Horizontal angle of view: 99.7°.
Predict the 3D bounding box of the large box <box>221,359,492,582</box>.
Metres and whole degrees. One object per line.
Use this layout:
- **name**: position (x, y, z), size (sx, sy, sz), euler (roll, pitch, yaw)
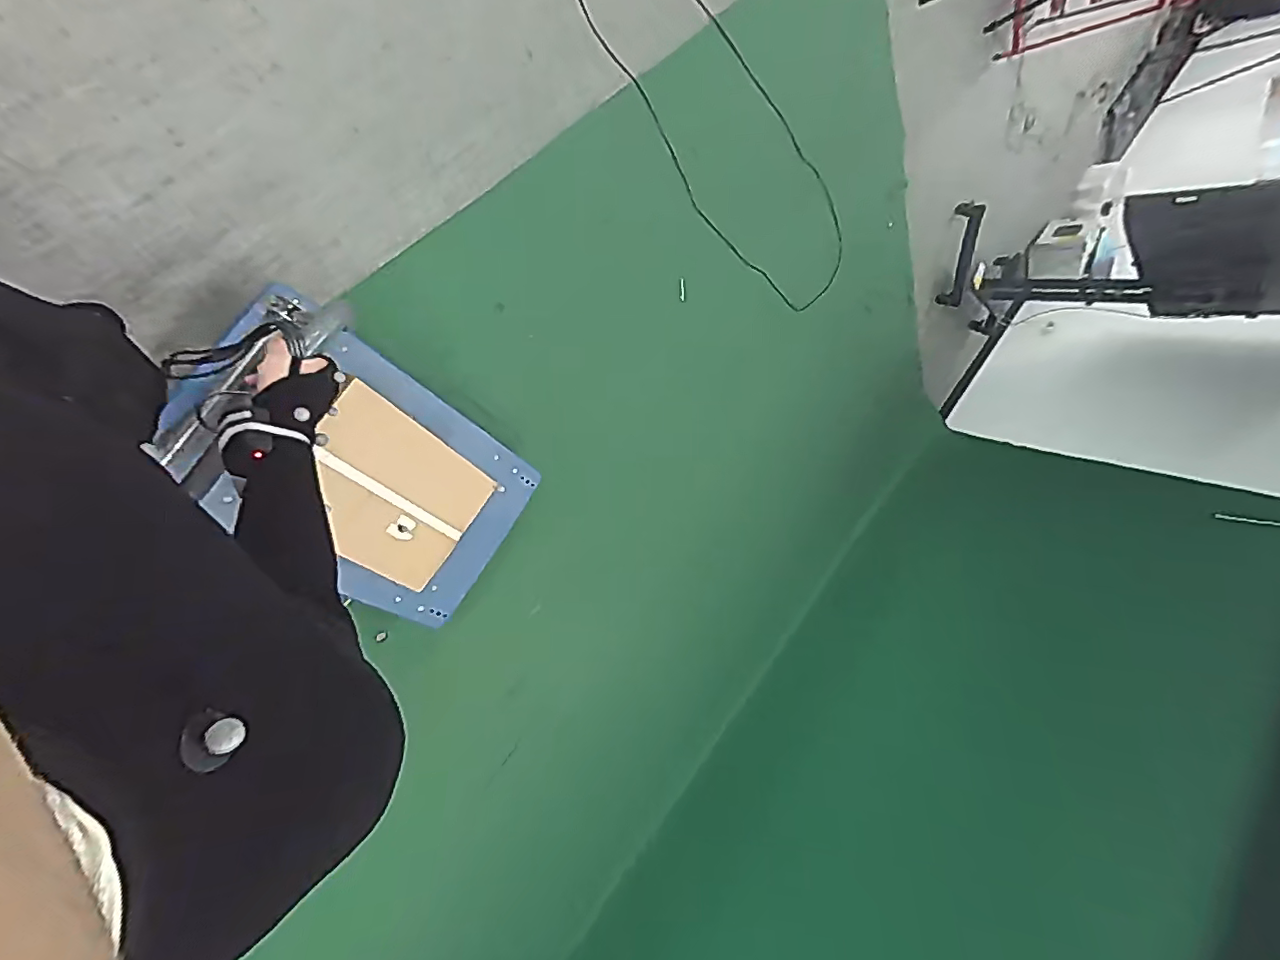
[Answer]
- **large box**: position (-0.642, -0.024, 1.249), size (0.320, 0.320, 0.408), euler (-56, 135, -12)
